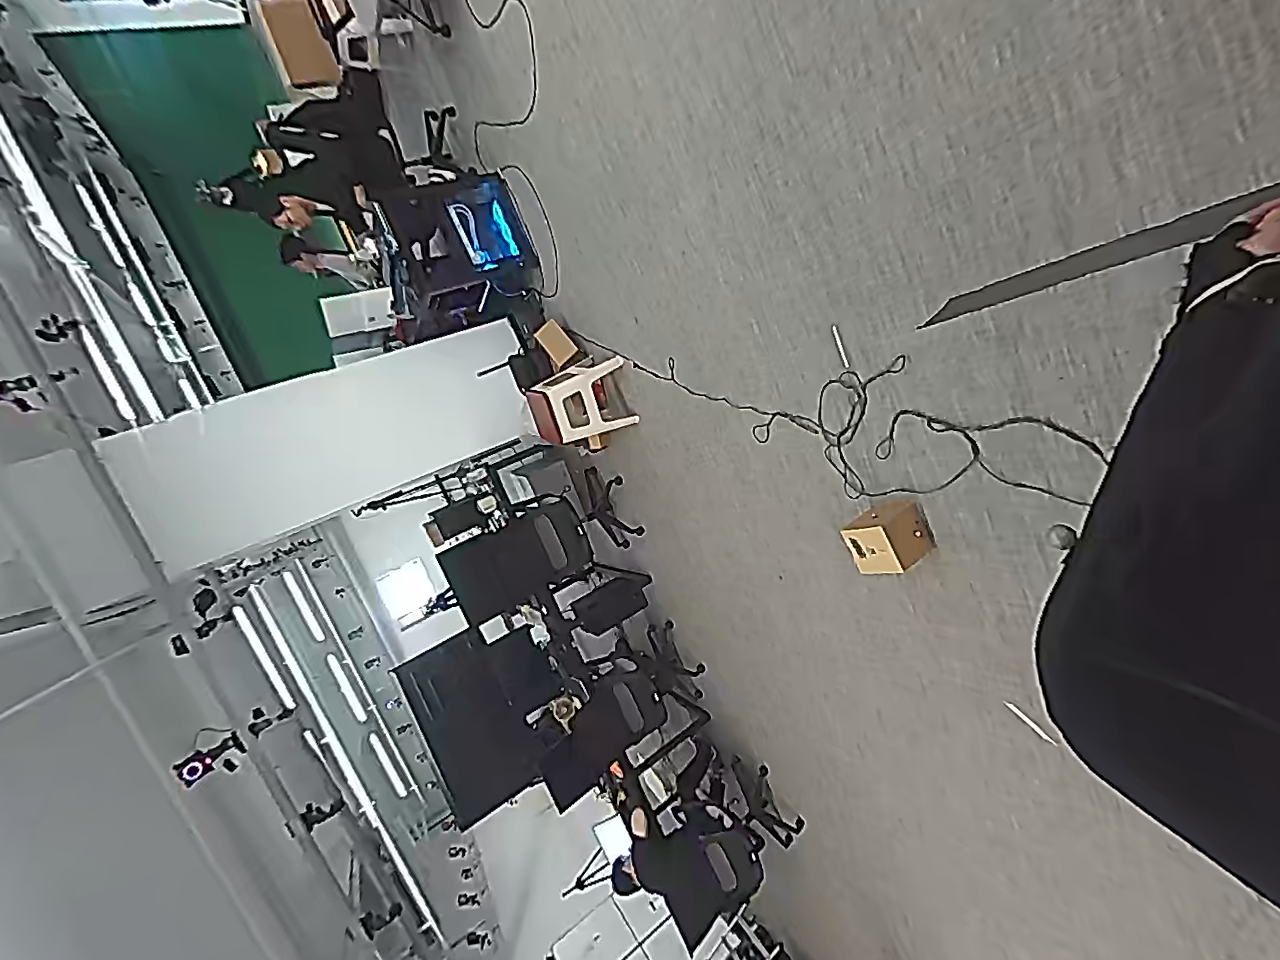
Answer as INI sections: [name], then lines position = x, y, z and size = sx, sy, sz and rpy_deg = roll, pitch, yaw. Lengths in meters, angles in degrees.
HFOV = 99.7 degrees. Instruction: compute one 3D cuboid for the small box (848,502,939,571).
[small box]
position = 0.824, 0.185, 1.756
size = 0.168, 0.176, 0.179
rpy_deg = 63, 155, -2
